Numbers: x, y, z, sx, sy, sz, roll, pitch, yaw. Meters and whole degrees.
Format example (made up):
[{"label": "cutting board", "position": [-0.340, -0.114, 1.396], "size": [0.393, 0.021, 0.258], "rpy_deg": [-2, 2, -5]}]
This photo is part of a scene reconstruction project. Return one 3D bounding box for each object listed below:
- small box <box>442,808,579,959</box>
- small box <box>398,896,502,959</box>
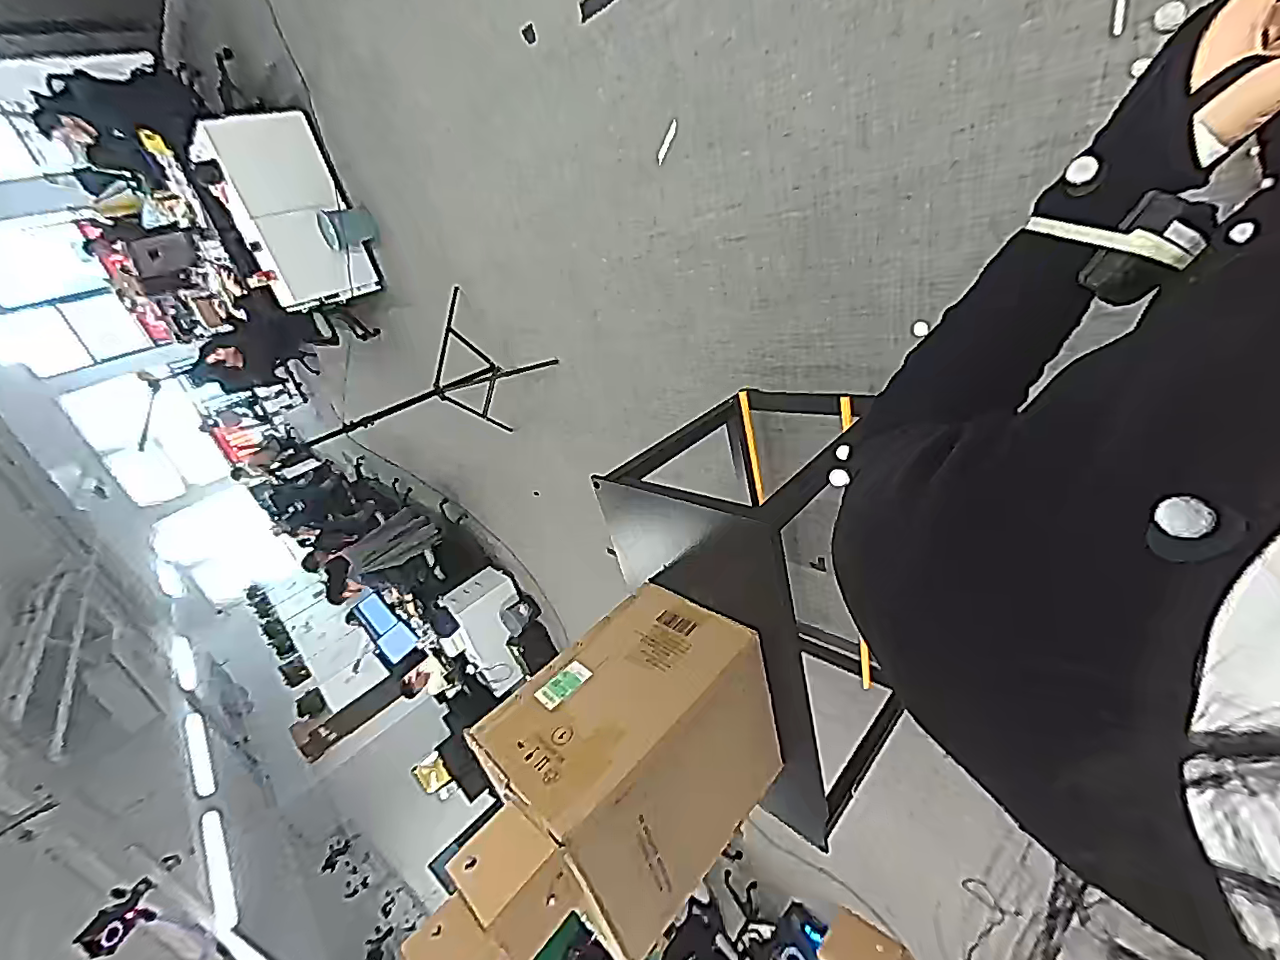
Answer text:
[{"label": "small box", "position": [-0.252, 0.796, 1.072], "size": [0.179, 0.176, 0.168], "rpy_deg": [10, 128, 47]}, {"label": "small box", "position": [-0.404, 1.081, 1.214], "size": [0.179, 0.176, 0.168], "rpy_deg": [16, 131, 45]}]
